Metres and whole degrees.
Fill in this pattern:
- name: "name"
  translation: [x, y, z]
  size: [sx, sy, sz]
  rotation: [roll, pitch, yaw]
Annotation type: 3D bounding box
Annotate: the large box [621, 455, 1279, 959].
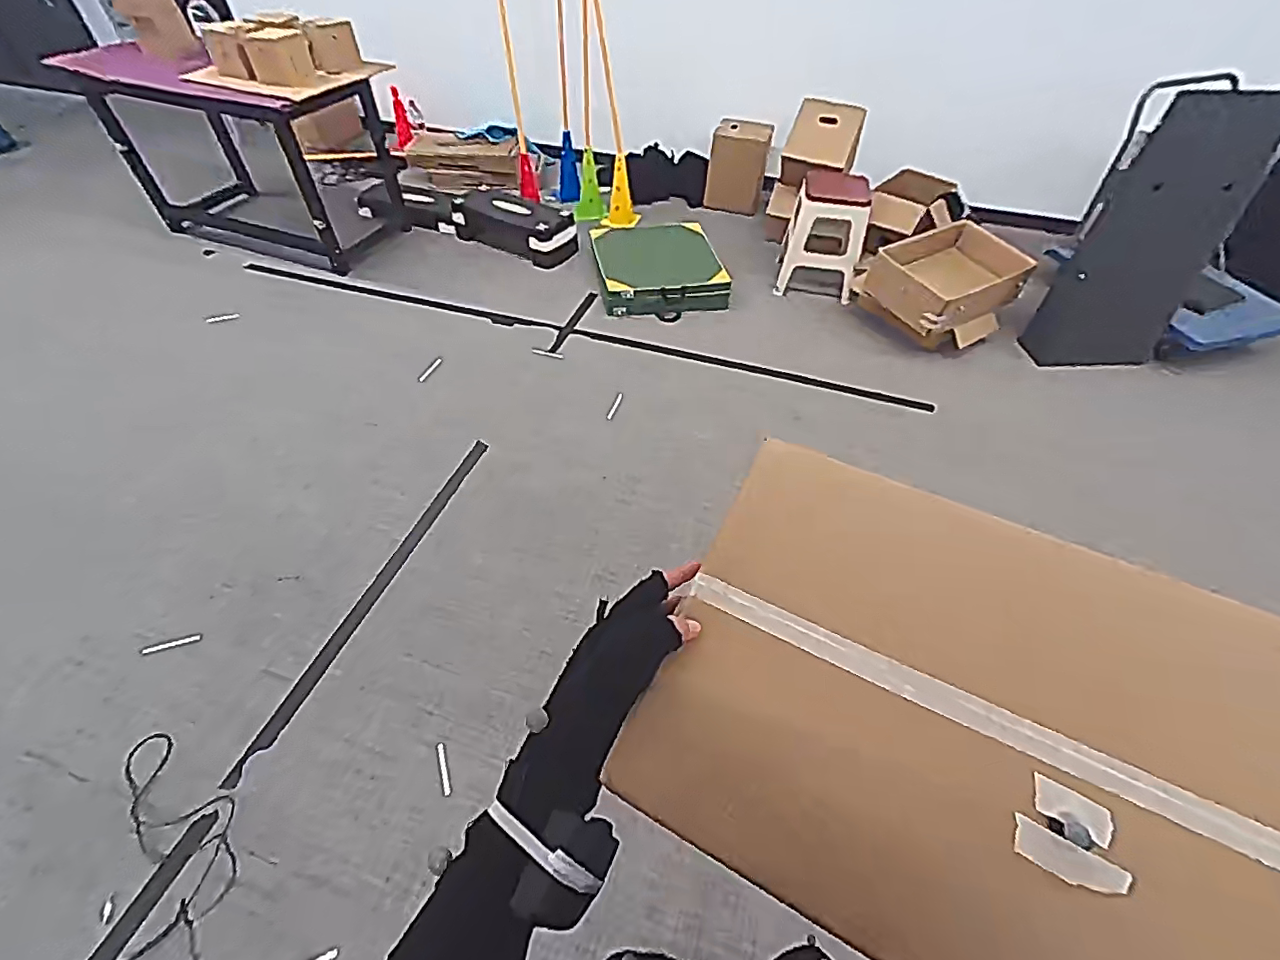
- name: "large box"
  translation: [0.241, 0.237, 0.509]
  size: [0.408, 0.320, 0.320]
  rotation: [23, 65, 19]
